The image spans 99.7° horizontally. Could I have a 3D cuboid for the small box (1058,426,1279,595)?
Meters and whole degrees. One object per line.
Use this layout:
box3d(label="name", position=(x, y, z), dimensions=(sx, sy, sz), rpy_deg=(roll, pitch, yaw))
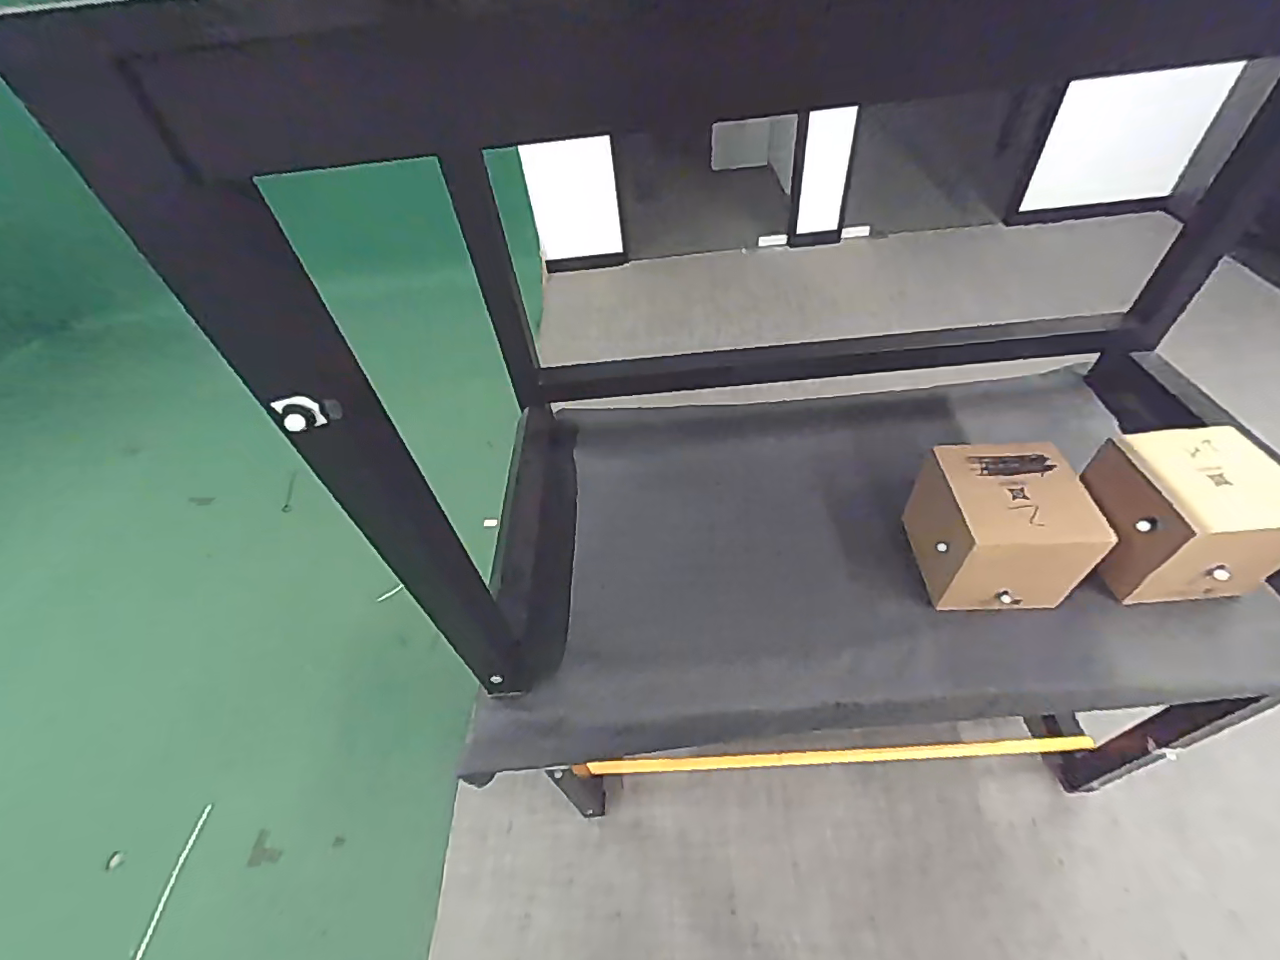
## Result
box3d(label="small box", position=(0.747, 0.049, 0.759), dimensions=(0.168, 0.176, 0.179), rpy_deg=(-5, 47, 3))
